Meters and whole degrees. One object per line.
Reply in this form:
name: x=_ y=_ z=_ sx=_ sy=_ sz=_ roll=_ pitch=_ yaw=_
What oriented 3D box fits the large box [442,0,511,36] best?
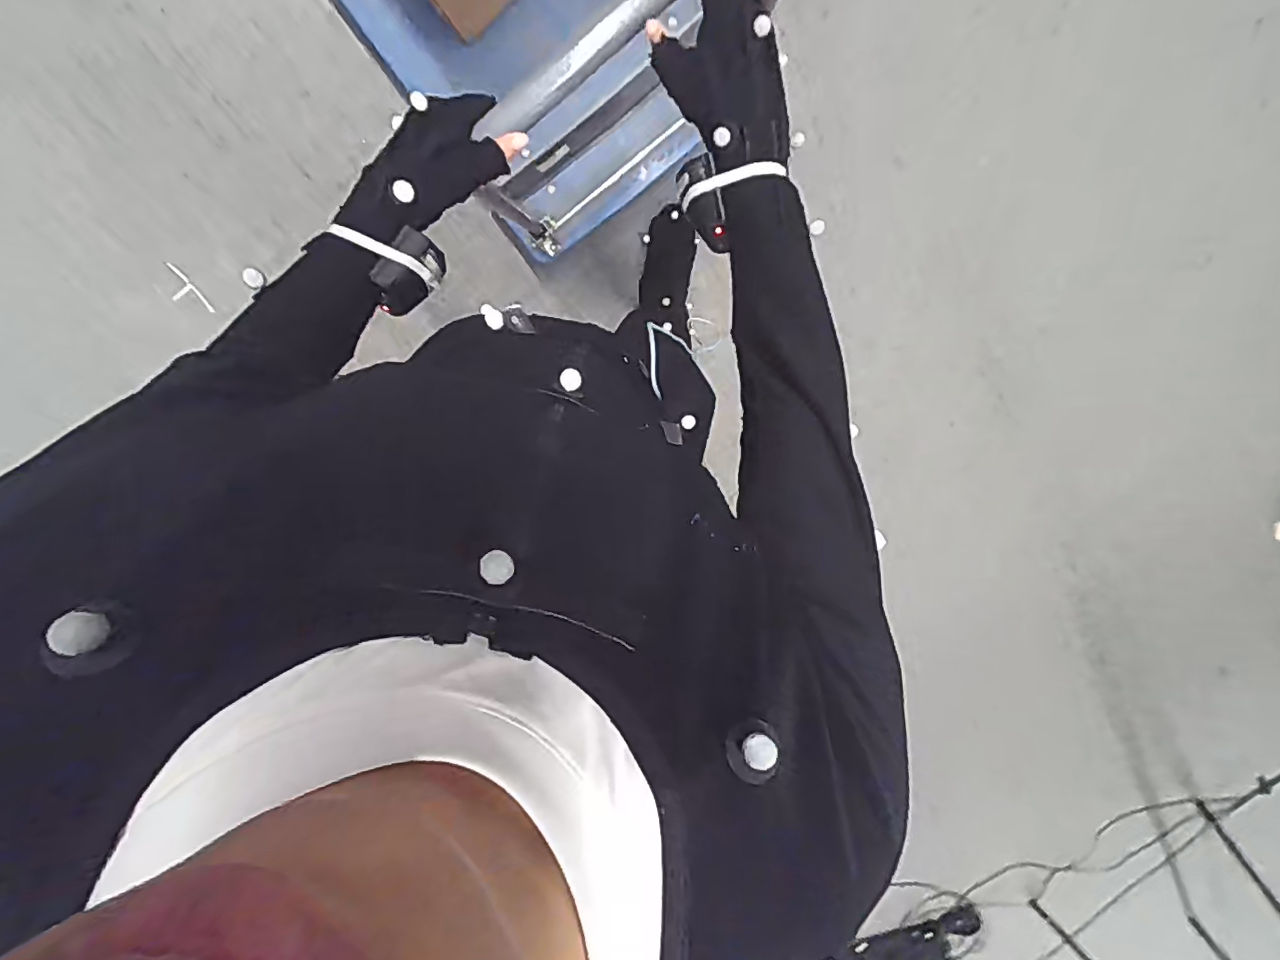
large box: x=-0.236 y=-0.967 z=0.758 sx=0.408 sy=0.320 sz=0.320 roll=-36 pitch=109 yaw=13
